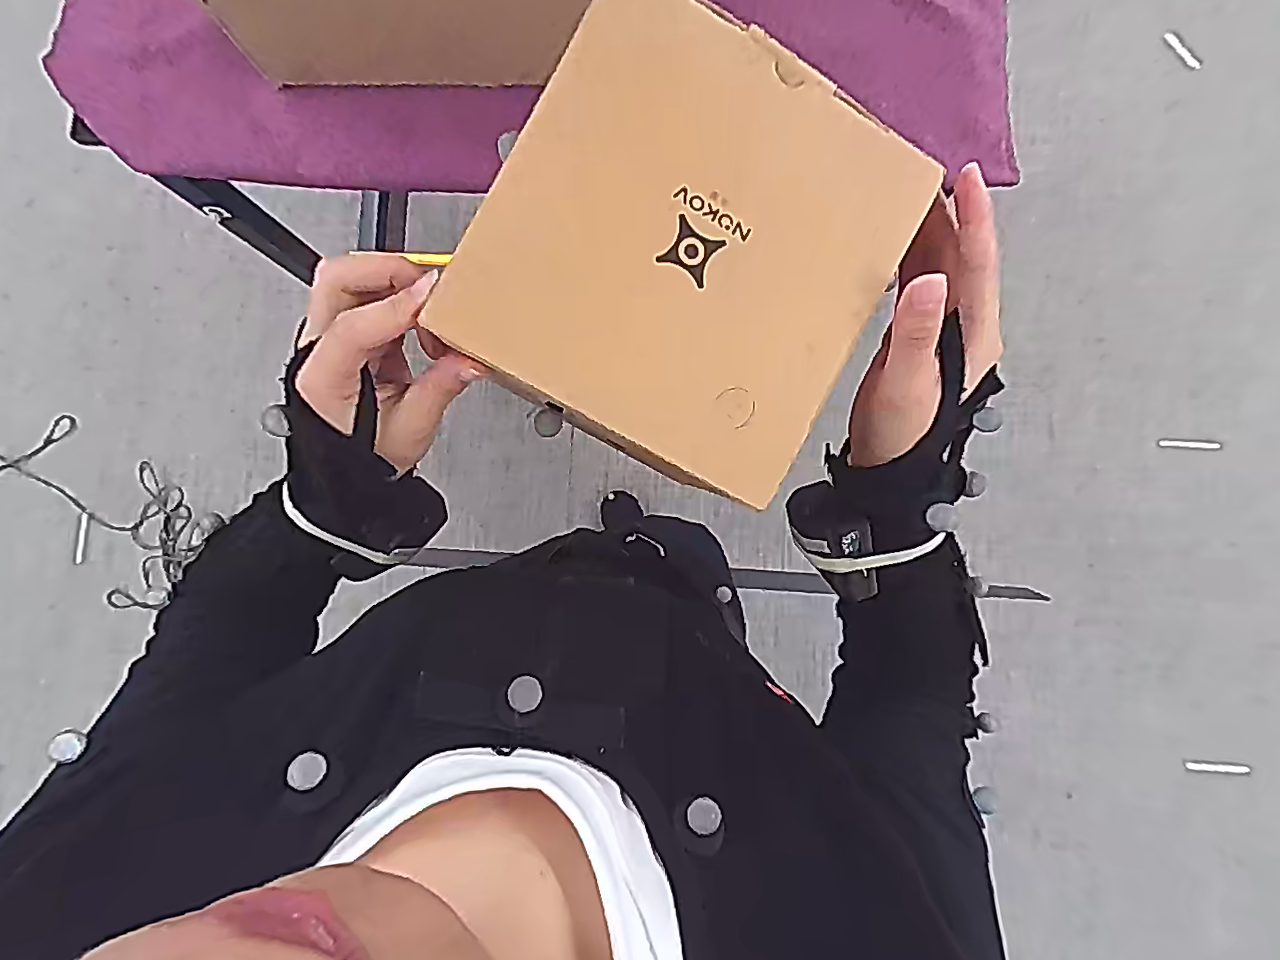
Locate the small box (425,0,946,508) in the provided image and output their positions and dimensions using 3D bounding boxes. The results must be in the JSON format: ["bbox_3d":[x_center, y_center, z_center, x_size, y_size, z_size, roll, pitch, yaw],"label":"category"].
[{"bbox_3d":[0.015,-0.103,0.304,0.168,0.176,0.179,28,88,-7],"label":"small box"}]
